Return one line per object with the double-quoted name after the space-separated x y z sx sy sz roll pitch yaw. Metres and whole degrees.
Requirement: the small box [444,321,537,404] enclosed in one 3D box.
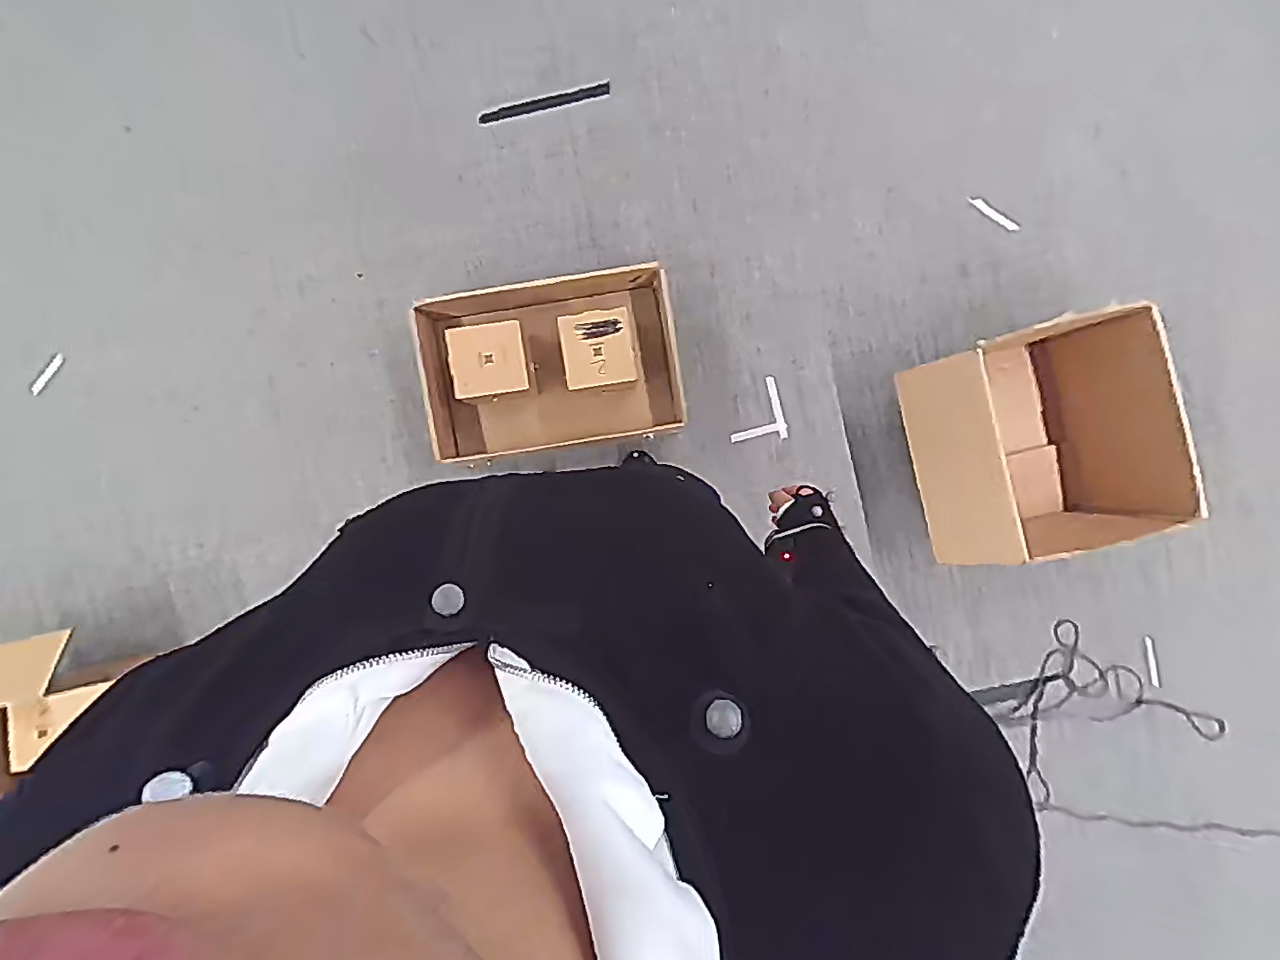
-0.368 -0.287 1.355 0.179 0.176 0.168 -9 95 -3 "small box"
